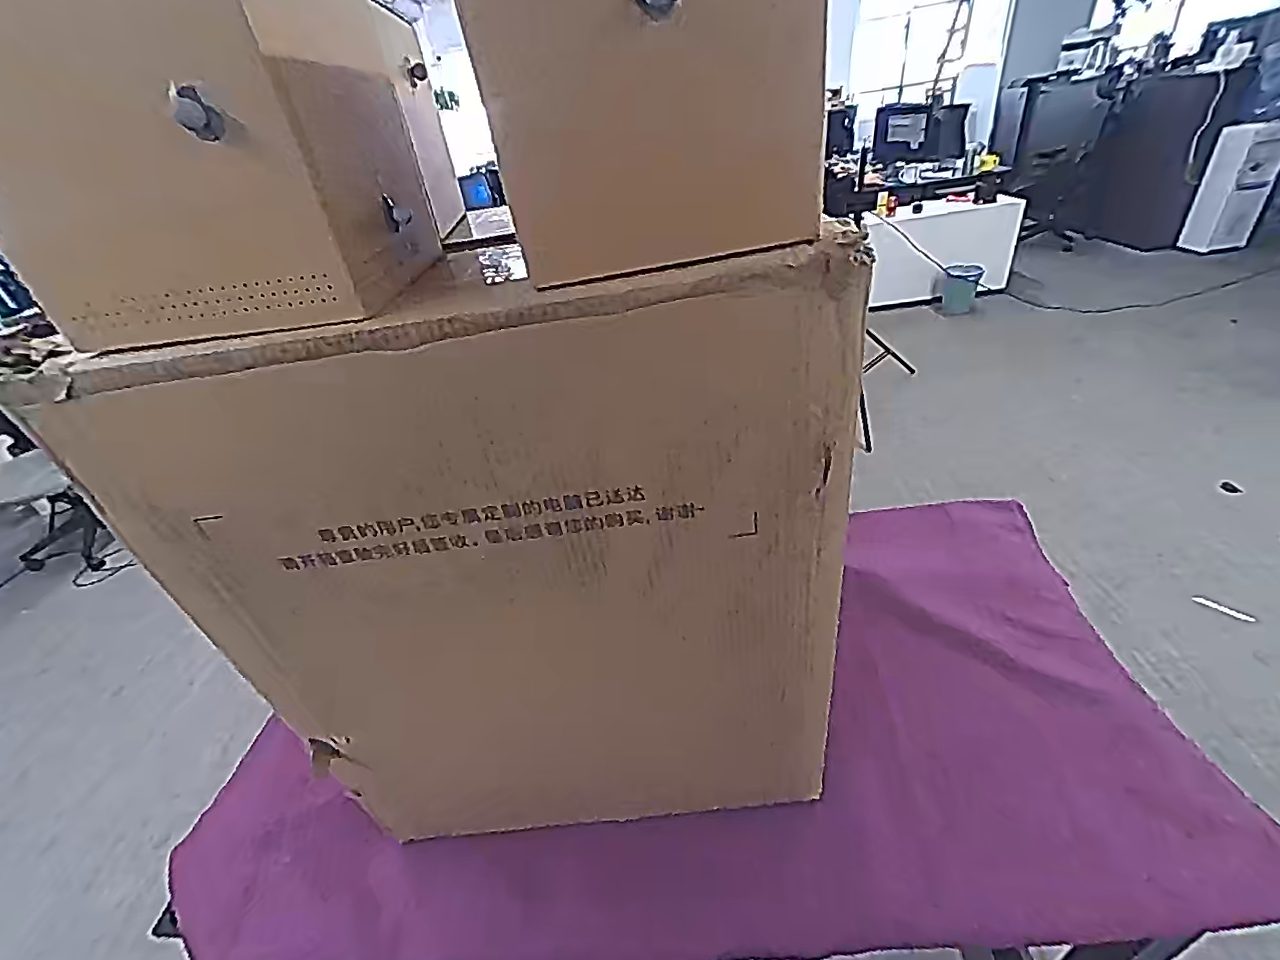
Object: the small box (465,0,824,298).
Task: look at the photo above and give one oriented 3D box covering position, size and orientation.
[{"bbox_3d":[0.006,-0.229,0.325,0.168,0.176,0.179,-9,34,3],"label":"small box"}]
